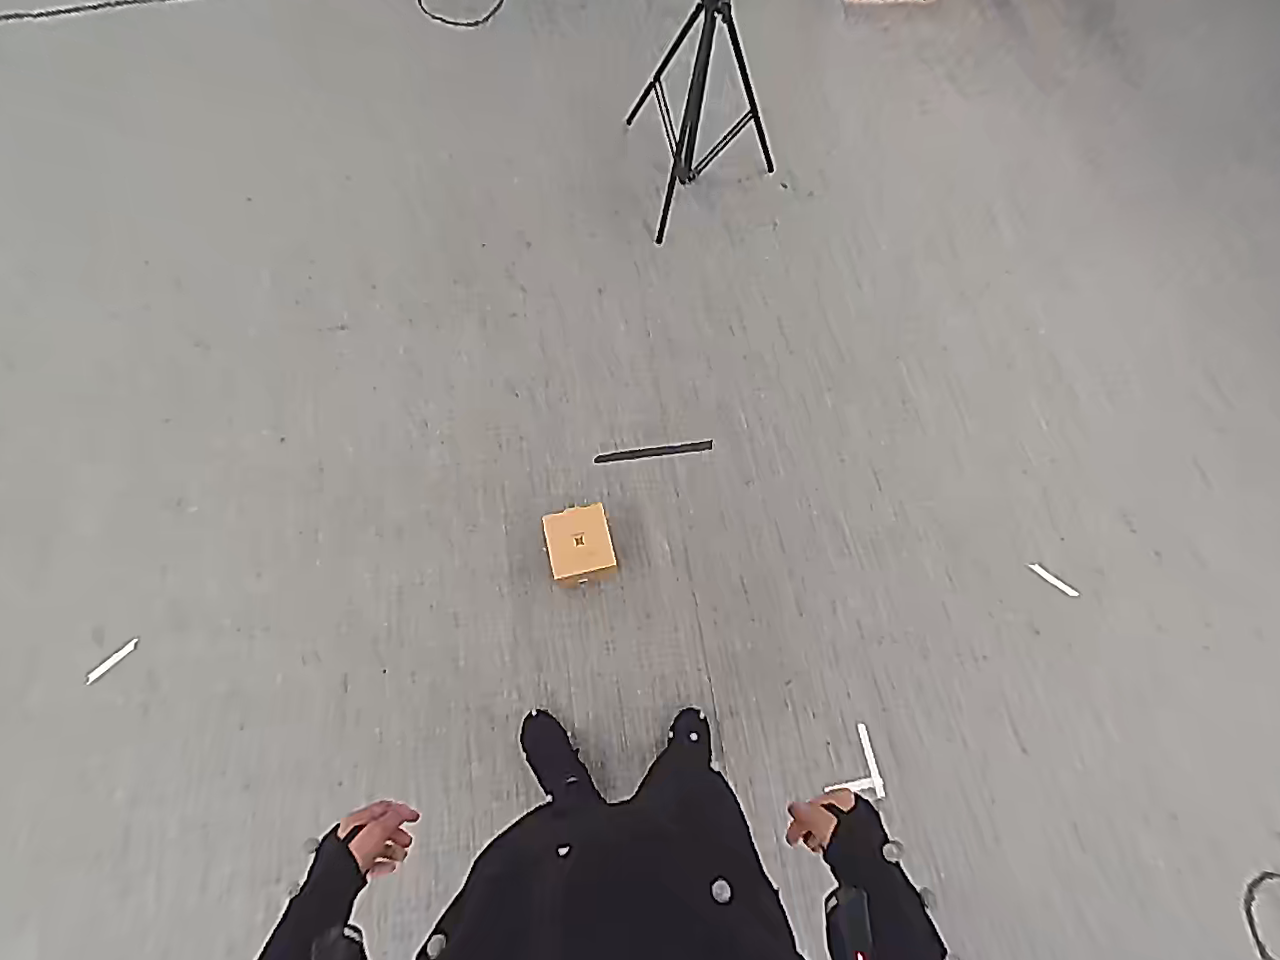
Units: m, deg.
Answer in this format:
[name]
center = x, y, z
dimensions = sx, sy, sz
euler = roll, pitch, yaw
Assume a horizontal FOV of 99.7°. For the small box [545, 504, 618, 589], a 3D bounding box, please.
[small box]
center = -0.160, 0.186, 1.484
dimensions = 0.168, 0.176, 0.179
euler = -12, 72, -7
